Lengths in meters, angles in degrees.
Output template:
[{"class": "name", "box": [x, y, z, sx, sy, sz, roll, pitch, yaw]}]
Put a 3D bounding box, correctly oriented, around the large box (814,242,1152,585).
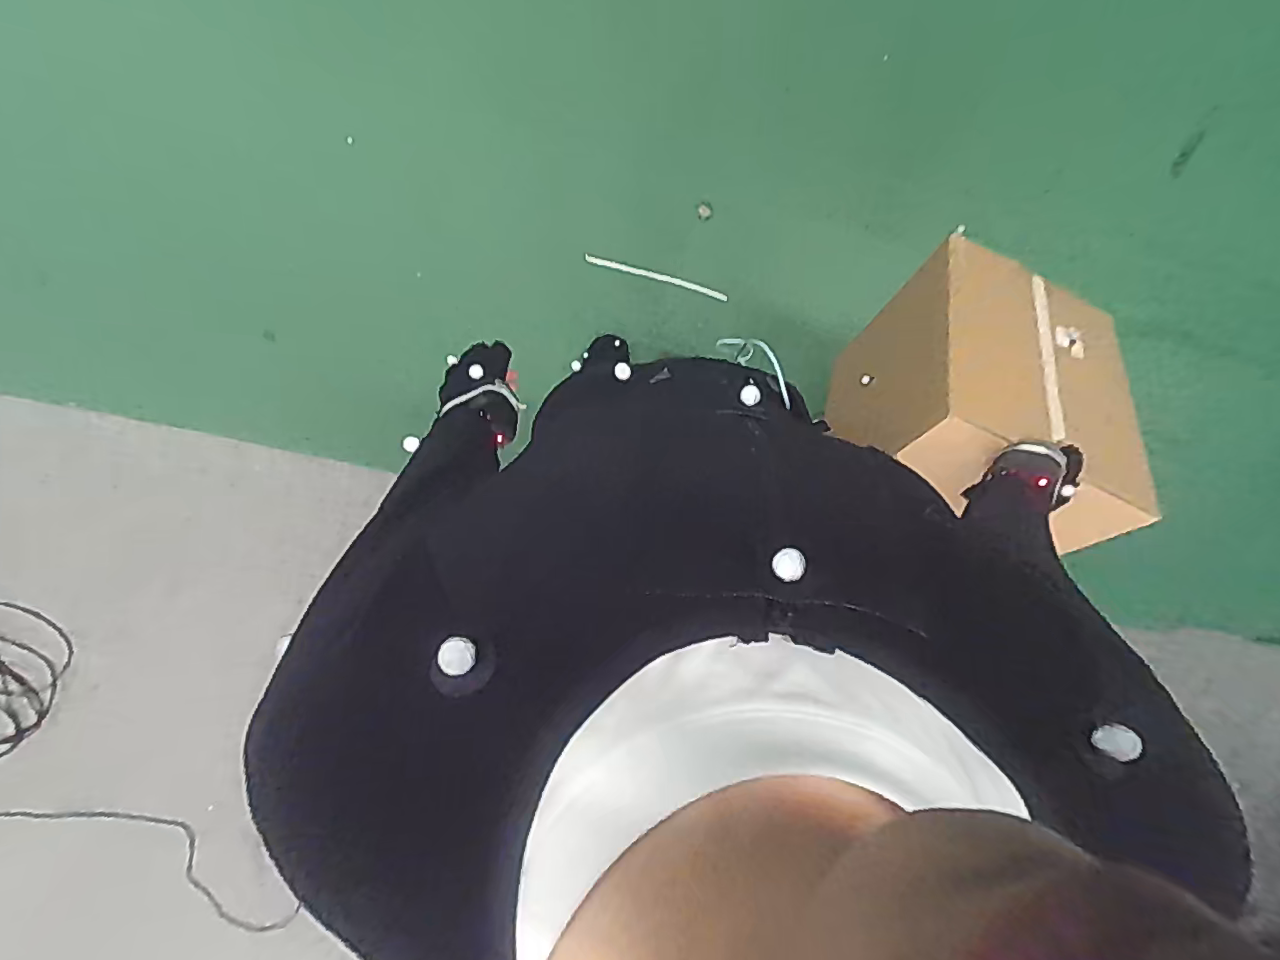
[{"class": "large box", "box": [0.521, -0.097, 0.898, 0.320, 0.408, 0.320, 25, 146, -6]}]
